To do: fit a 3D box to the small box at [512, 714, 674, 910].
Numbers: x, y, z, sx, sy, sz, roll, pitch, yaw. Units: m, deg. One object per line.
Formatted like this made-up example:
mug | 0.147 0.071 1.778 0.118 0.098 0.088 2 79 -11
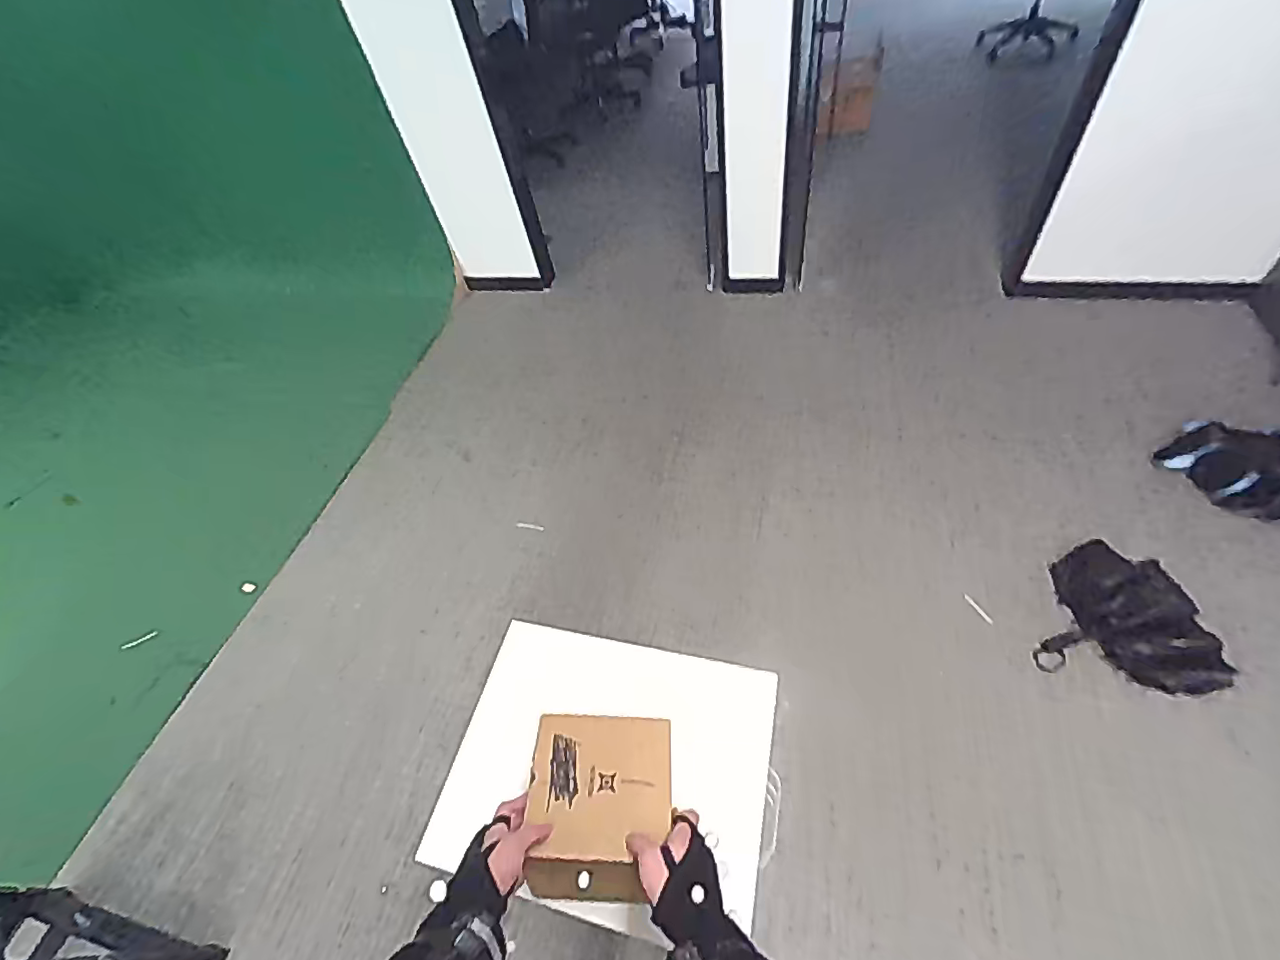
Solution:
small box | -0.051 0.418 0.682 0.179 0.176 0.168 3 39 -1
